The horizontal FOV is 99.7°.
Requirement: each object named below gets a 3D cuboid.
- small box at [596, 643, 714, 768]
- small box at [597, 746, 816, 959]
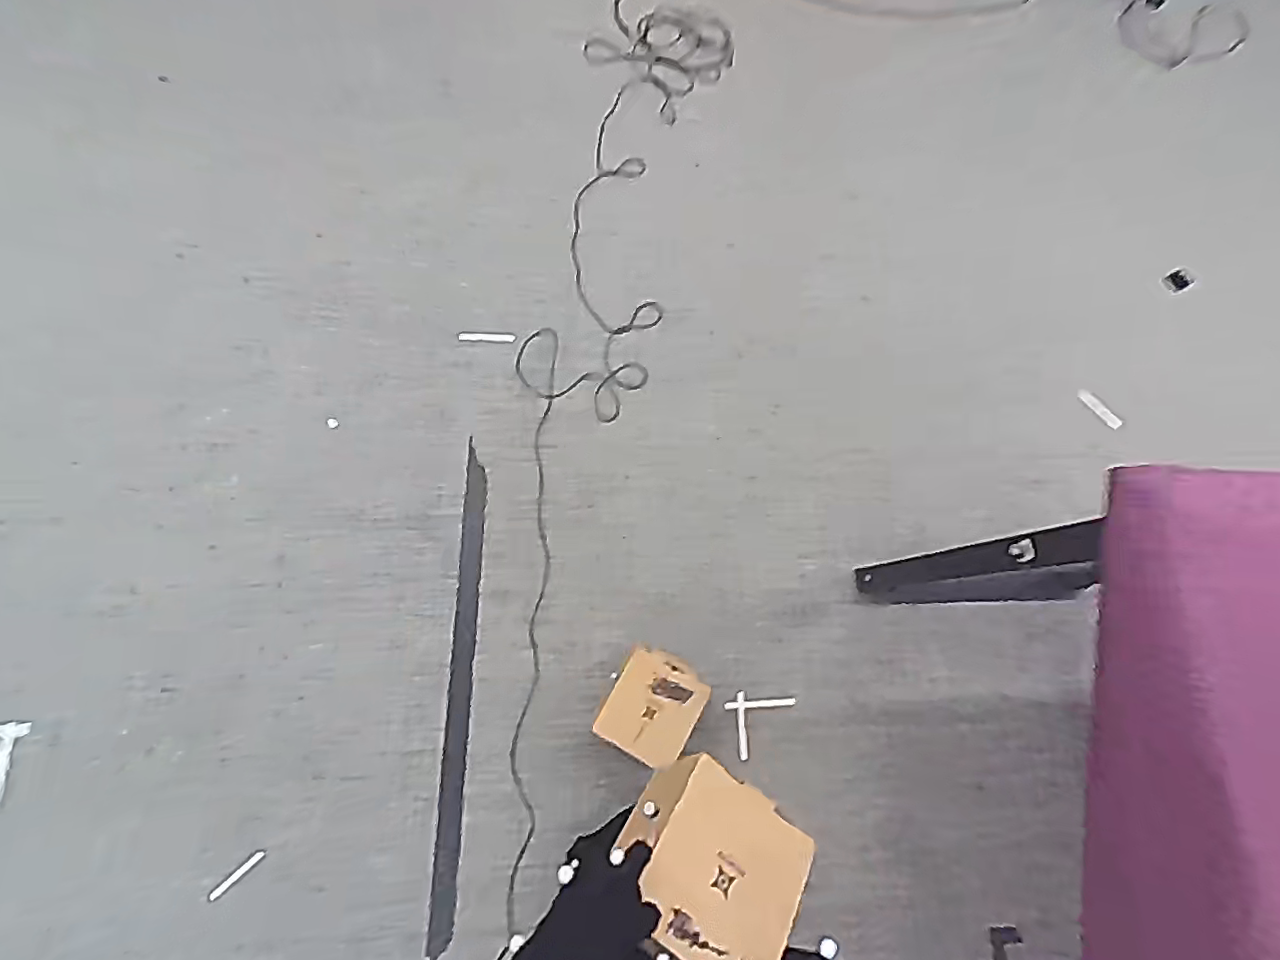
[{"bbox_3d":[0.022,0.440,1.079,0.168,0.176,0.179,30,75,4],"label":"small box"},{"bbox_3d":[0.070,0.453,0.636,0.168,0.176,0.179,36,52,6],"label":"small box"}]
